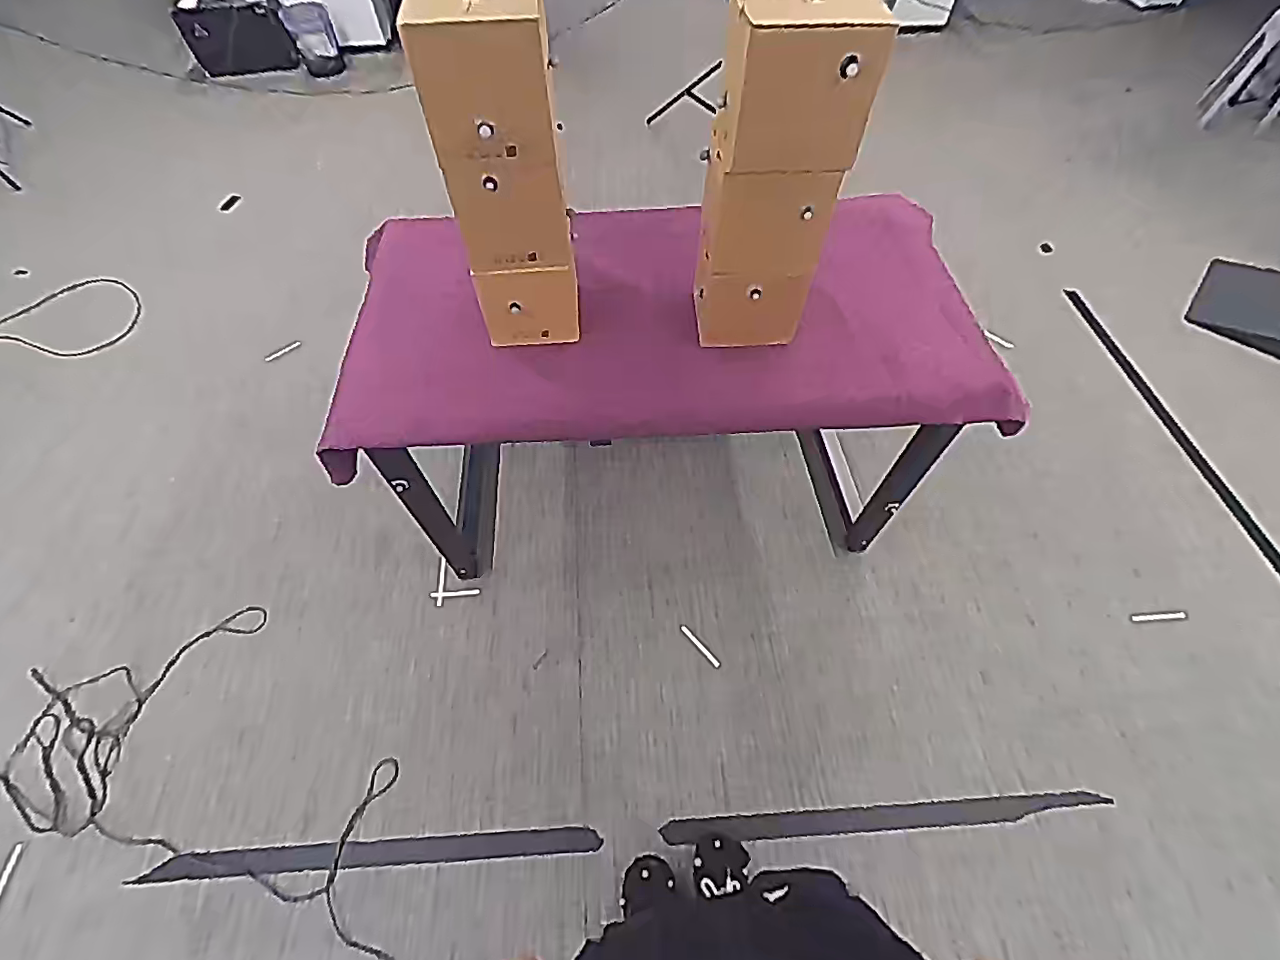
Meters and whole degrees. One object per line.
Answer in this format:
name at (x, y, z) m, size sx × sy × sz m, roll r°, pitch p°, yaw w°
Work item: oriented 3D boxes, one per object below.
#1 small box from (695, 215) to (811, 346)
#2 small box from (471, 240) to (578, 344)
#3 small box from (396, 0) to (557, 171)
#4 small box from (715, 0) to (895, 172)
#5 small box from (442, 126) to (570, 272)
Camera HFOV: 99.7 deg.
small box at (0.197, -0.365, 1.006) m, size 0.179 × 0.176 × 0.168 m, roll -2°, pitch 58°, yaw -1°
small box at (-0.207, -0.369, 1.012) m, size 0.168 × 0.176 × 0.179 m, roll -5°, pitch 57°, yaw -2°
small box at (-0.208, -0.552, 0.738) m, size 0.168 × 0.176 × 0.179 m, roll -5°, pitch 58°, yaw -3°
small box at (0.205, -0.539, 0.726) m, size 0.179 × 0.176 × 0.168 m, roll -3°, pitch 57°, yaw -1°
small box at (-0.207, -0.464, 0.878) m, size 0.168 × 0.176 × 0.179 m, roll -6°, pitch 57°, yaw -3°
